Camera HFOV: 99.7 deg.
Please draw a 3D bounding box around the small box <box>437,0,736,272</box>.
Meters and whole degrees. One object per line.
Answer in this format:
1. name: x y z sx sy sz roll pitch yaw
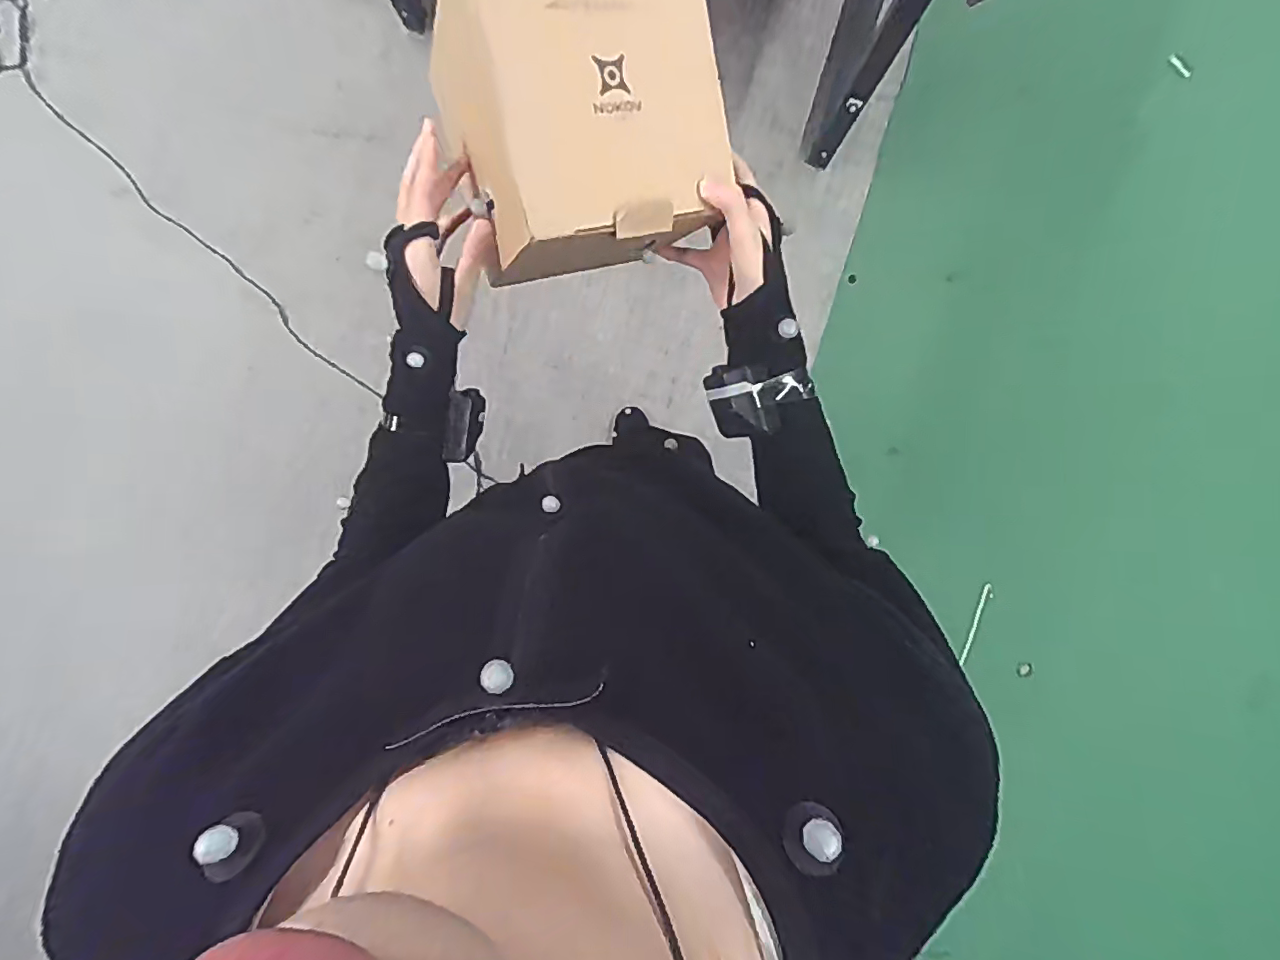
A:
1. small box: -0.050 -0.273 0.427 0.168 0.176 0.179 -19 105 -21
